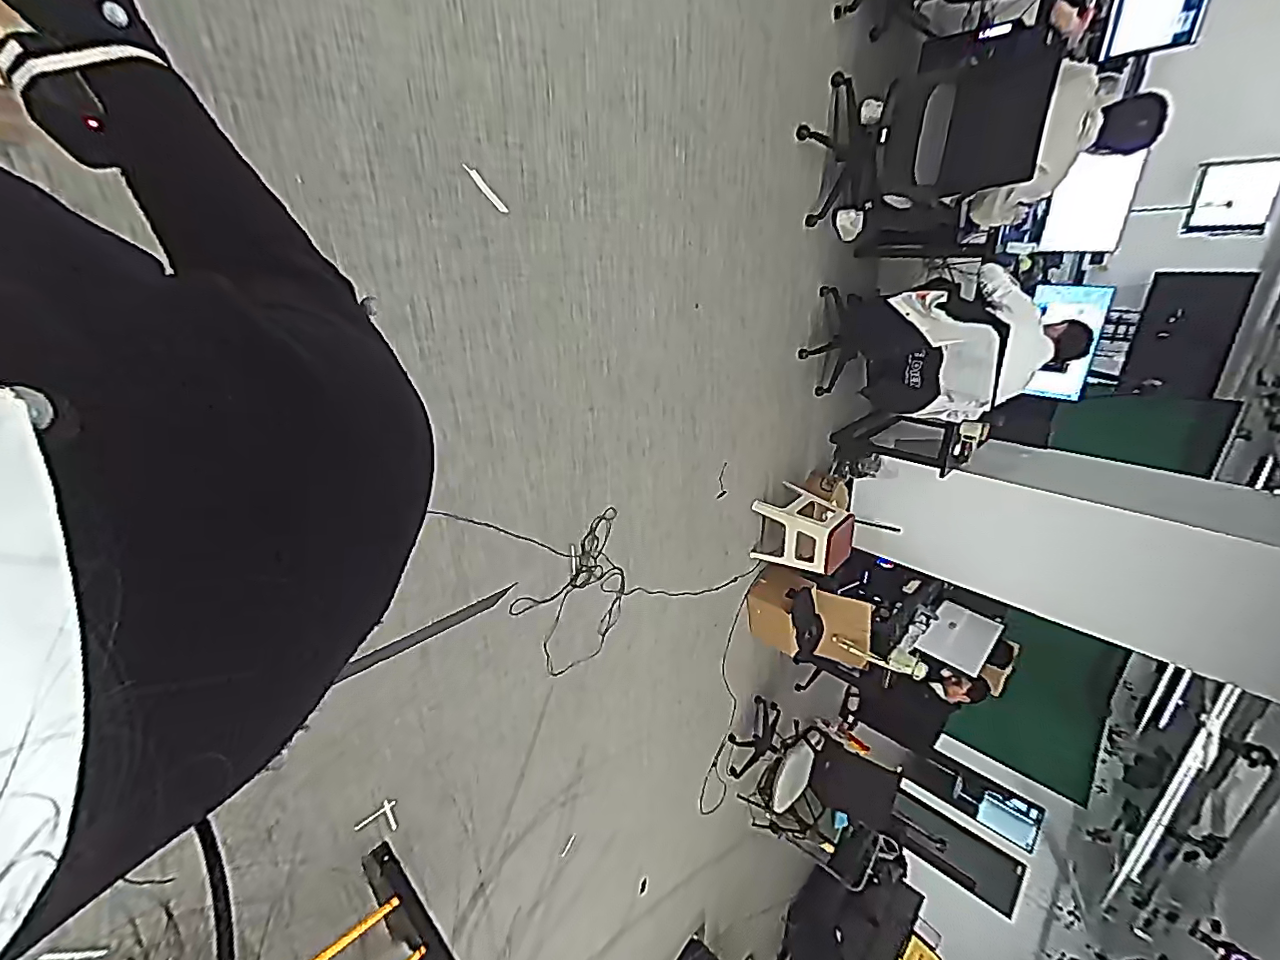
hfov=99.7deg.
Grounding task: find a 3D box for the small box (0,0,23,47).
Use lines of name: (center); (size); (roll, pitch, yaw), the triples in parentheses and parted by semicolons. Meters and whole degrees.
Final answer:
small box: (-0.714, -0.518, 0.484); (0.179, 0.176, 0.168); (-21, 121, -44)
